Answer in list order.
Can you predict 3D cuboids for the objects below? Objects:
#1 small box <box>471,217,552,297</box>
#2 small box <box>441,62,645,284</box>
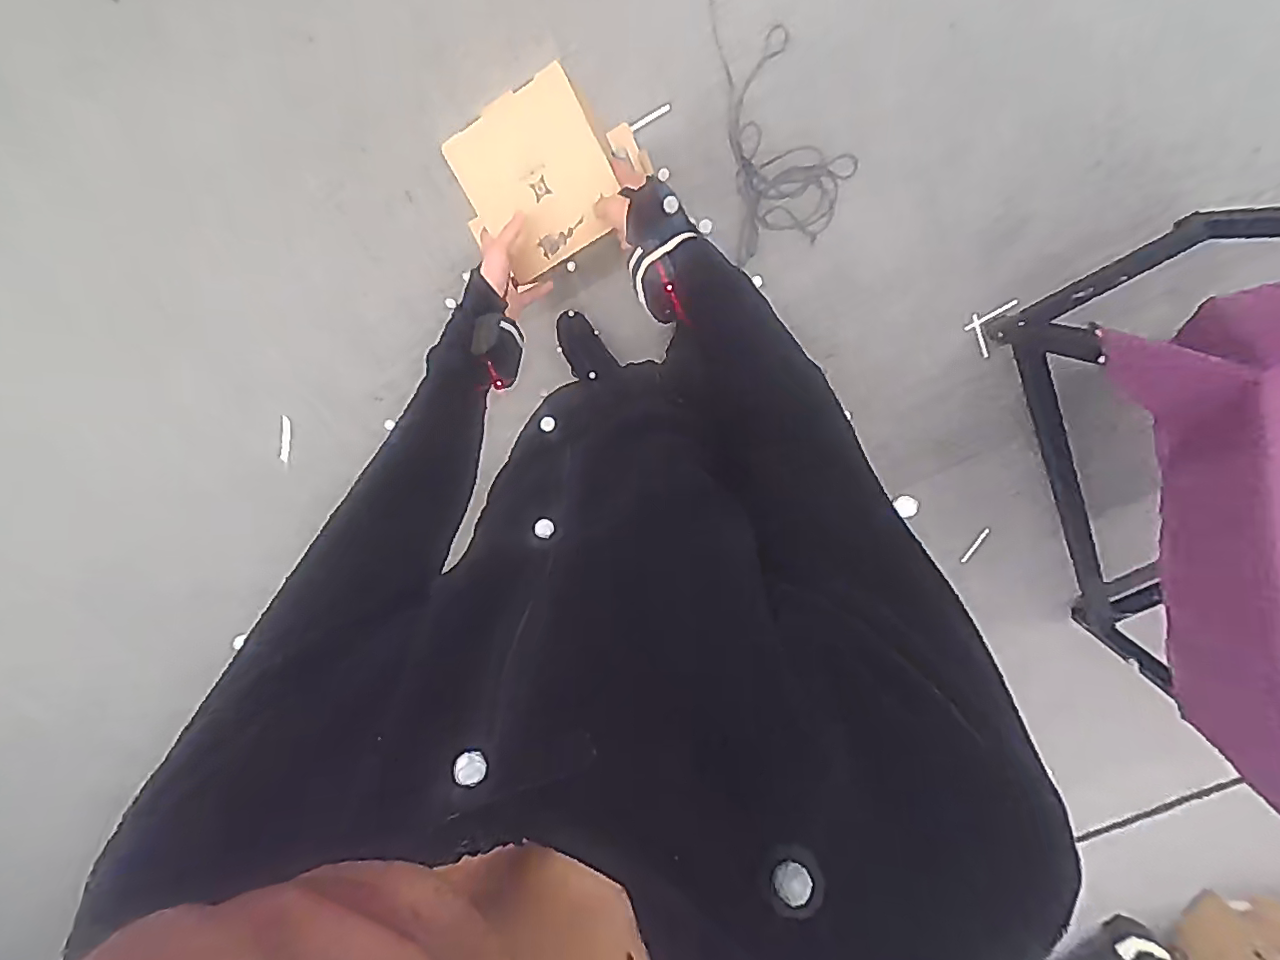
[{"bbox_3d":[-0.232,-0.519,1.177,0.179,0.176,0.168,-23,112,10],"label":"small box"},{"bbox_3d":[-0.109,-0.371,0.690,0.168,0.176,0.179,-24,108,17],"label":"small box"}]
